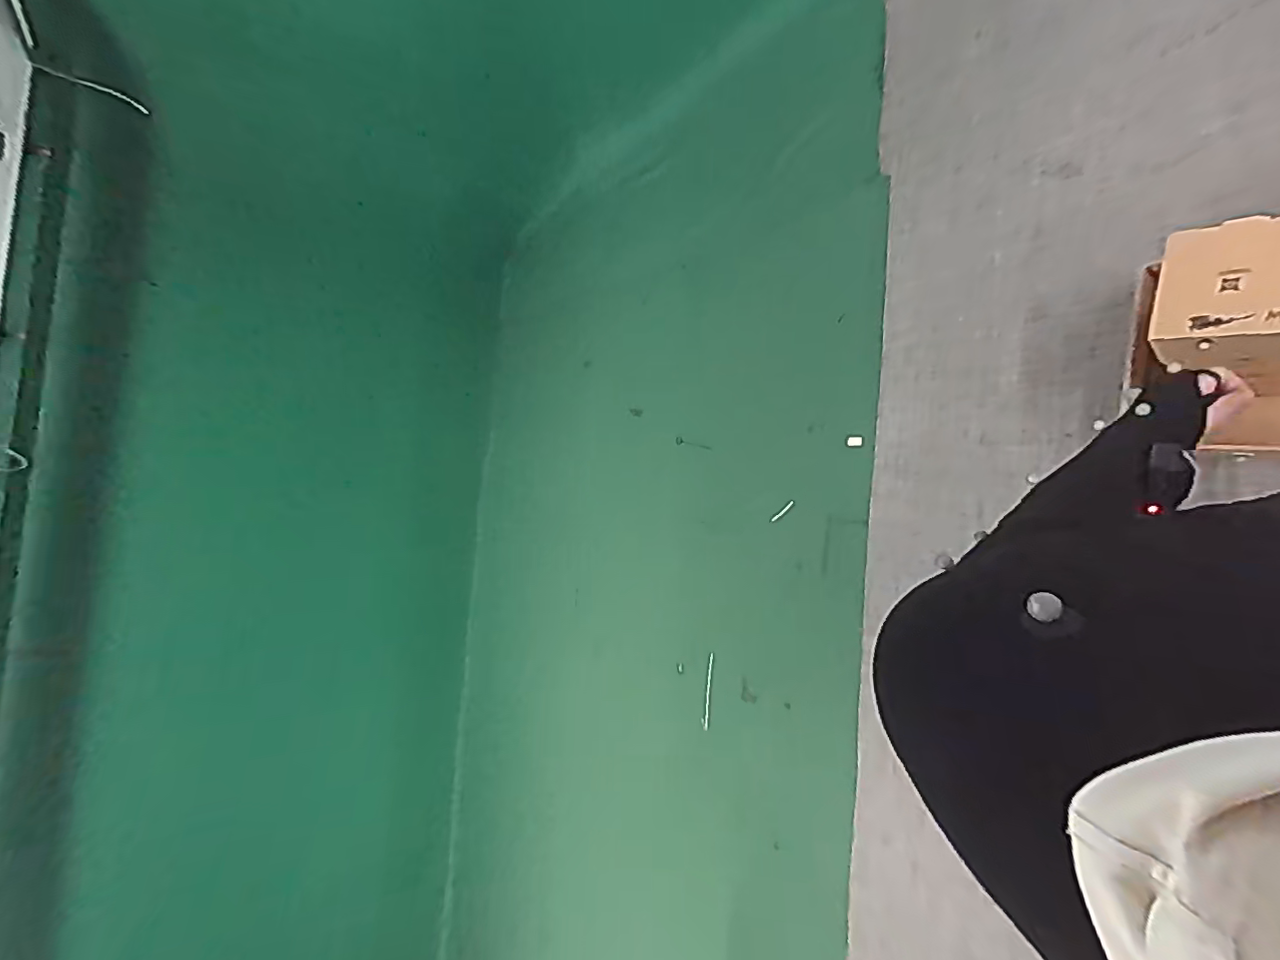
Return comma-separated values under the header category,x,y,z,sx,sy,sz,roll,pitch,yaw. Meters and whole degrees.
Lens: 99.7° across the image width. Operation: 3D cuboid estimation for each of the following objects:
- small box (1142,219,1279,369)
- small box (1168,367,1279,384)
category,x,y,z,sx,sy,sz,roll,pitch,yaw
small box,0.935,-0.285,0.858,0.168,0.176,0.179,12,92,50
small box,1.062,-0.278,0.963,0.168,0.176,0.179,8,89,50
